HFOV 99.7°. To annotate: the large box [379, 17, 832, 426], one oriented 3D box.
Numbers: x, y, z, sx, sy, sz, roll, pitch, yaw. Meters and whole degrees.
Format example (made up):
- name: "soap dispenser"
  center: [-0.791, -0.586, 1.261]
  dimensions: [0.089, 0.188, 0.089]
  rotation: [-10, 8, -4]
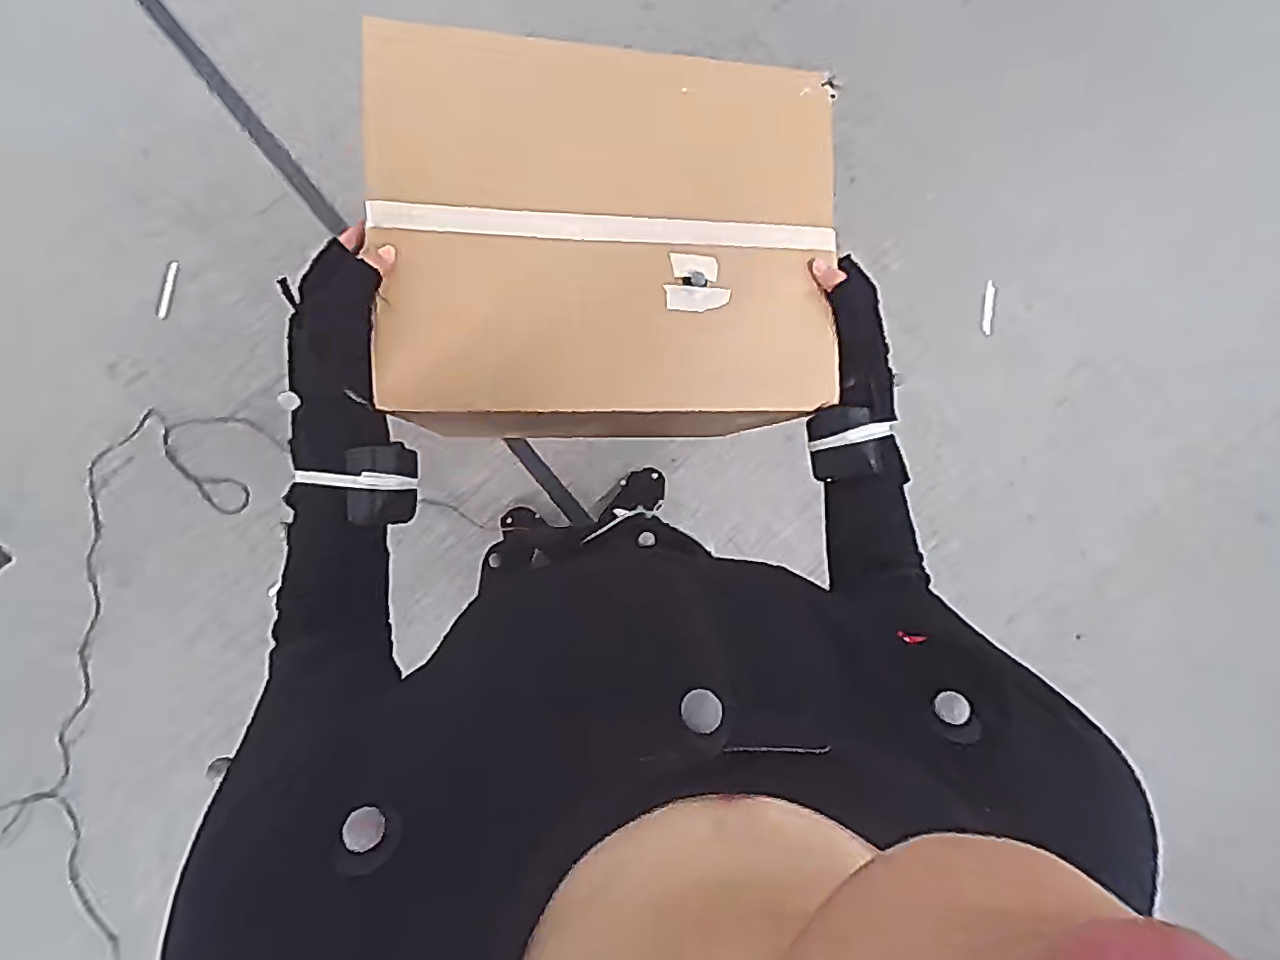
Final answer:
- name: "large box"
  center: [-0.044, -0.231, 0.622]
  dimensions: [0.408, 0.320, 0.320]
  rotation: [-1, 92, -12]
